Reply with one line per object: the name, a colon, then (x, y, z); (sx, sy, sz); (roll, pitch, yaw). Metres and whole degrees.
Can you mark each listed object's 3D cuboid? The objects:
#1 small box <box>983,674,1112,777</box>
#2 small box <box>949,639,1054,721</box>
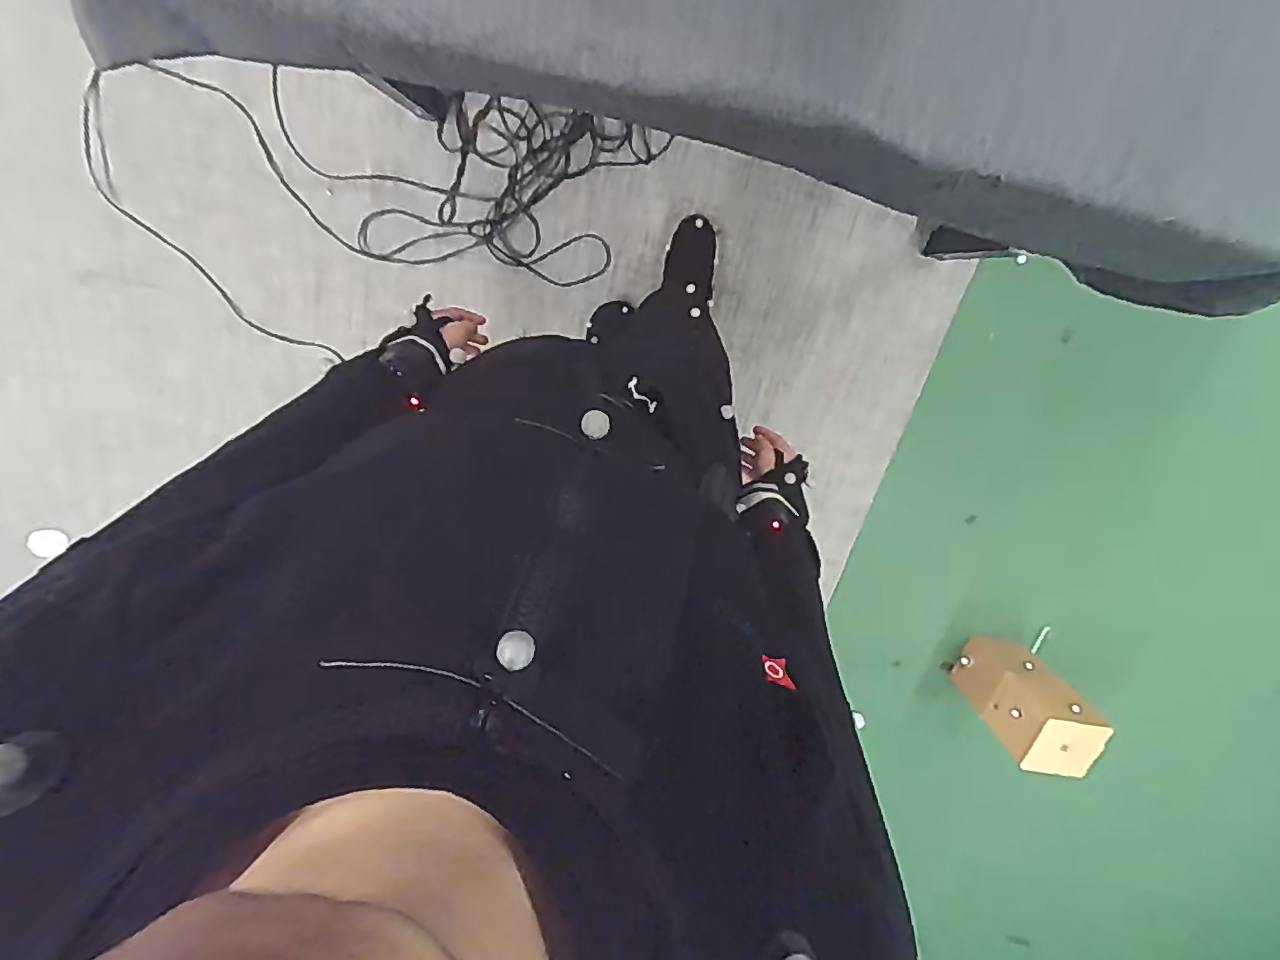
small box: (1.040, 0.629, 1.399); (0.179, 0.176, 0.168); (10, 110, -5)
small box: (1.040, 0.581, 1.555); (0.179, 0.176, 0.168); (12, 109, -4)
